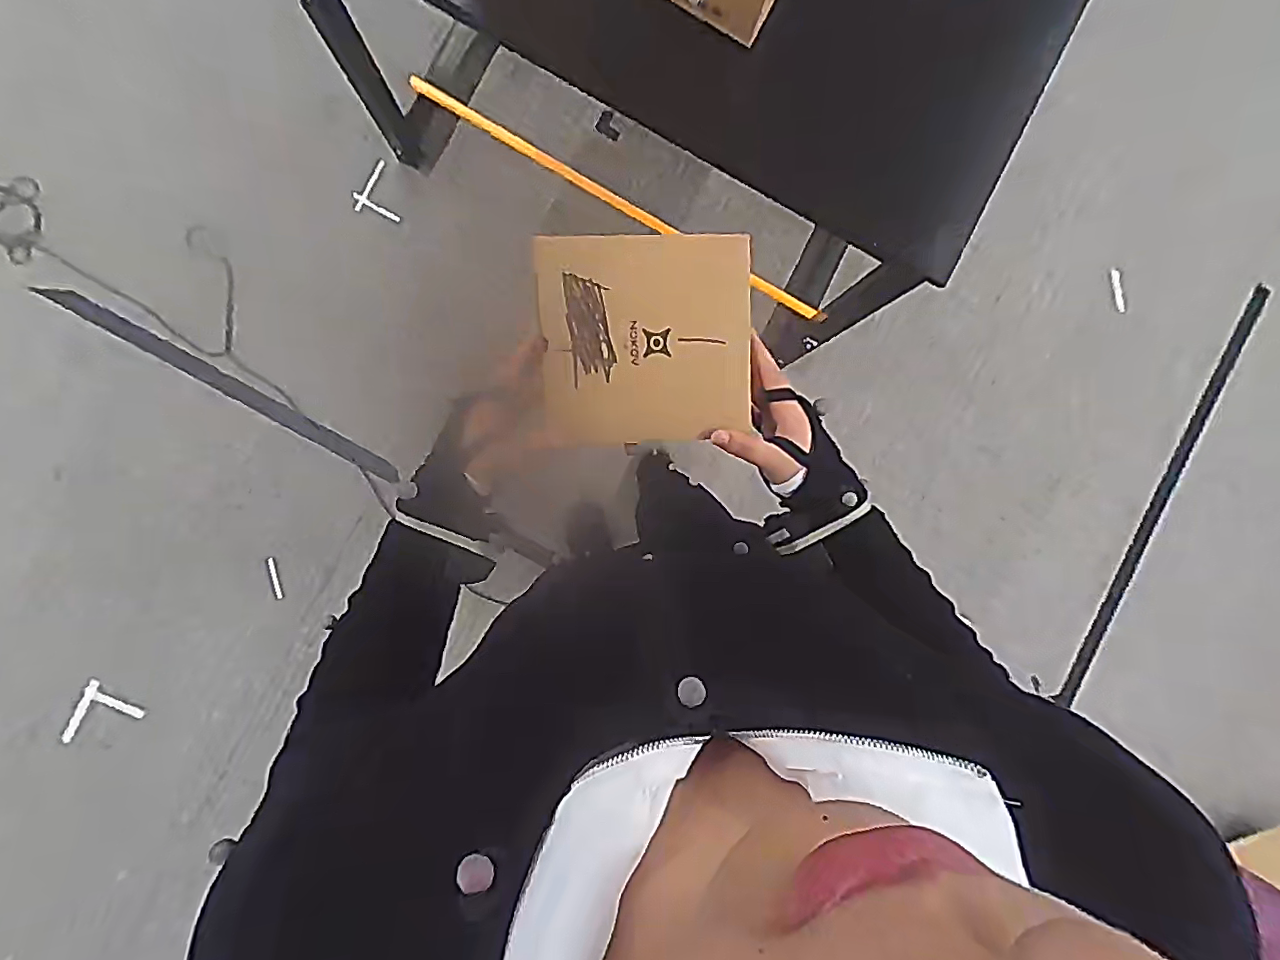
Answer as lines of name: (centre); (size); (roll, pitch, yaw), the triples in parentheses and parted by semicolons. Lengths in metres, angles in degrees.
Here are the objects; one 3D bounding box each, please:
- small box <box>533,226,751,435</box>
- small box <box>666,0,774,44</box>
small box: (-0.002, -0.131, 0.519); (0.179, 0.176, 0.168); (-3, 99, -6)
small box: (0.129, -0.737, 0.699); (0.168, 0.176, 0.179); (27, 89, -3)
